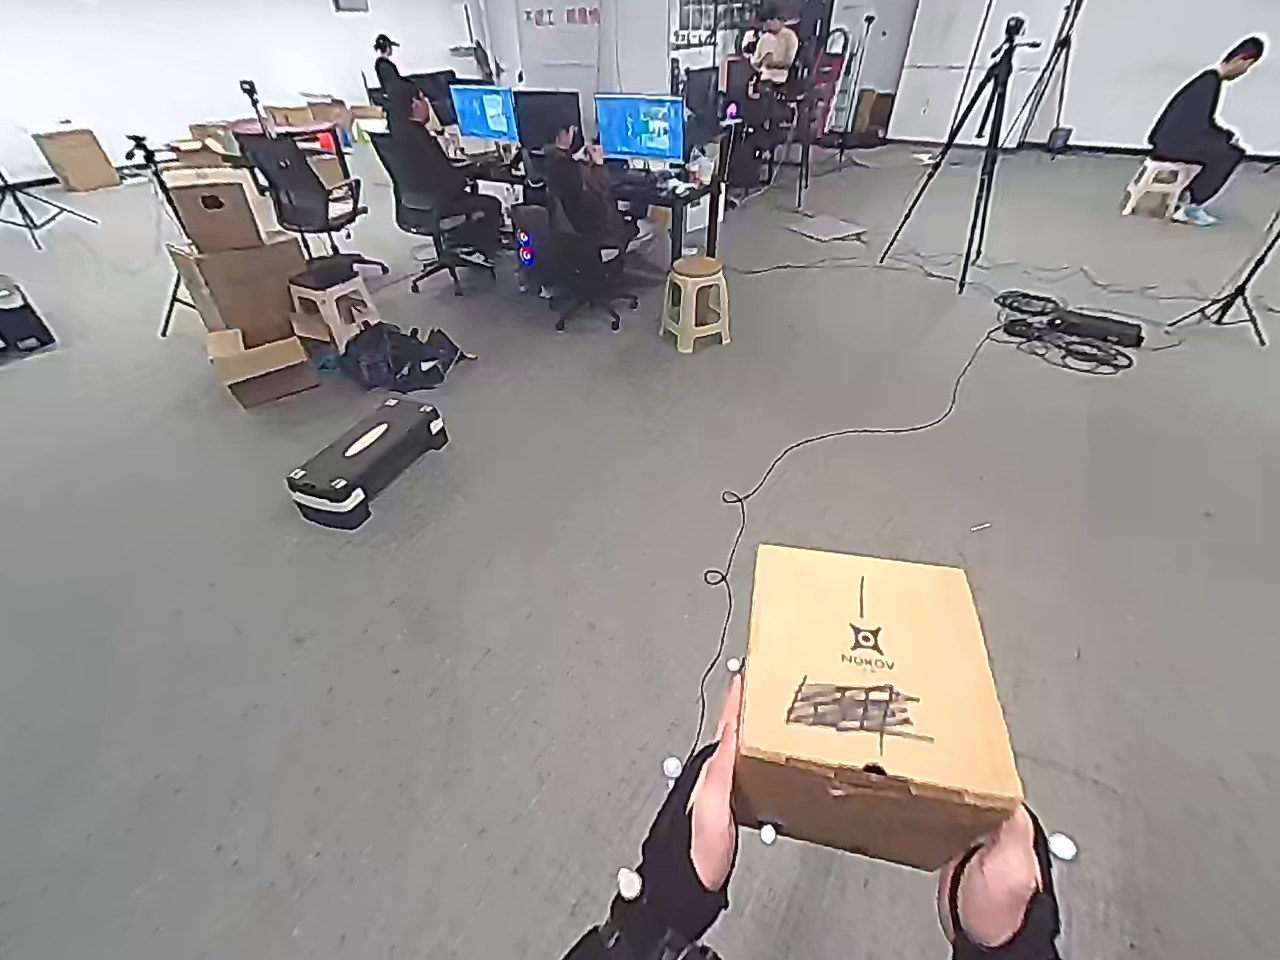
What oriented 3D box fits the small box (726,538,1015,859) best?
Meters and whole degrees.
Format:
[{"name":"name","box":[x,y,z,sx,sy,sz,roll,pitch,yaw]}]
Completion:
[{"name":"small box","box":[0.161,0.174,0.434,0.168,0.176,0.179,7,47,12]}]
